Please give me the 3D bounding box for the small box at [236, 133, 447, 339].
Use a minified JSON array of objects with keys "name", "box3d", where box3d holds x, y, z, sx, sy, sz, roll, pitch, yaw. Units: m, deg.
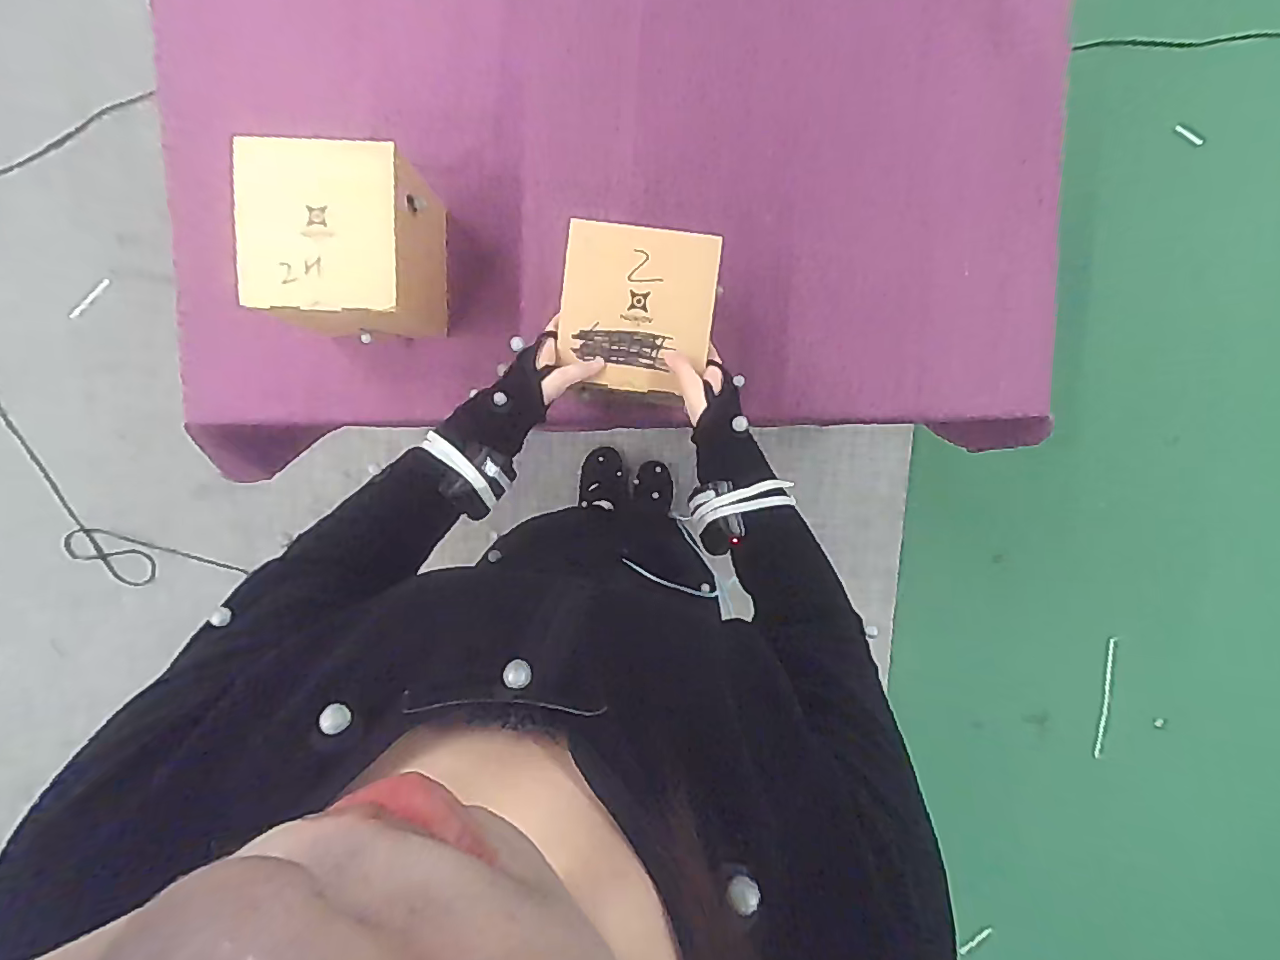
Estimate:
[{"name":"small box","box3d":[-0.339,-0.275,0.644,0.168,0.176,0.179,1,95,-2]}]
